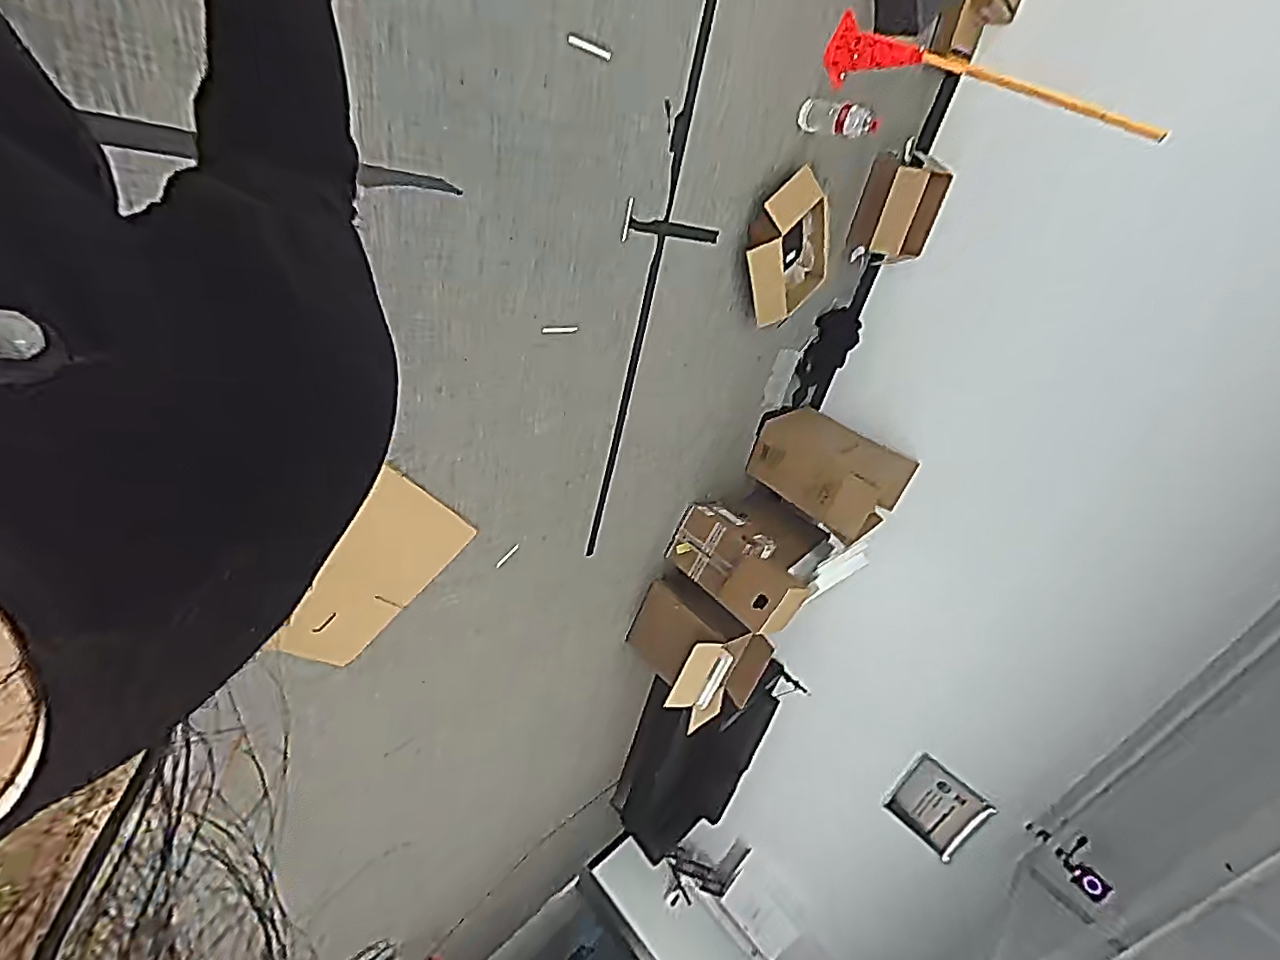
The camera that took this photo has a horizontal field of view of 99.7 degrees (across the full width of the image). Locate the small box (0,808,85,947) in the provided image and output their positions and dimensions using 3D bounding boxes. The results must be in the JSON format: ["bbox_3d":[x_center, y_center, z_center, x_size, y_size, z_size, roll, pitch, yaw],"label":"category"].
[{"bbox_3d":[-1.322,0.837,1.139,0.168,0.176,0.179,-20,135,-41],"label":"small box"}]
